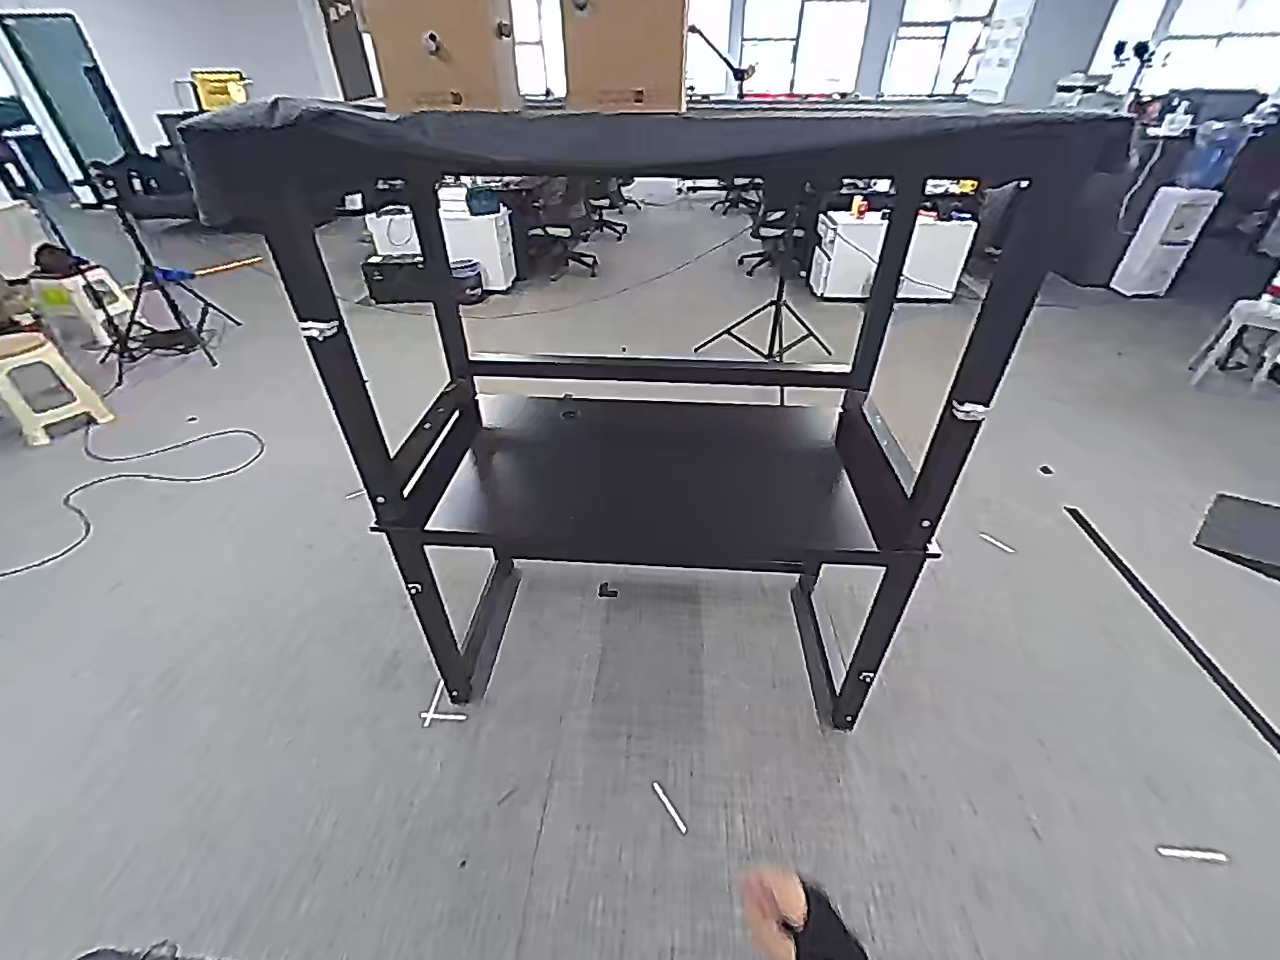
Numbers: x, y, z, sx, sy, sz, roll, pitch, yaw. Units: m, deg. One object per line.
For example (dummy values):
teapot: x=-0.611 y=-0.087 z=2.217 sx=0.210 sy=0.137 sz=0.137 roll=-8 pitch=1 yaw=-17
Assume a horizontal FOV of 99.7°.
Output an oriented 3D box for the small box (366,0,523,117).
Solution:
small box: x=-0.271 y=-0.632 z=0.785 sx=0.168 sy=0.176 sz=0.179 roll=0 pitch=36 yaw=-1
